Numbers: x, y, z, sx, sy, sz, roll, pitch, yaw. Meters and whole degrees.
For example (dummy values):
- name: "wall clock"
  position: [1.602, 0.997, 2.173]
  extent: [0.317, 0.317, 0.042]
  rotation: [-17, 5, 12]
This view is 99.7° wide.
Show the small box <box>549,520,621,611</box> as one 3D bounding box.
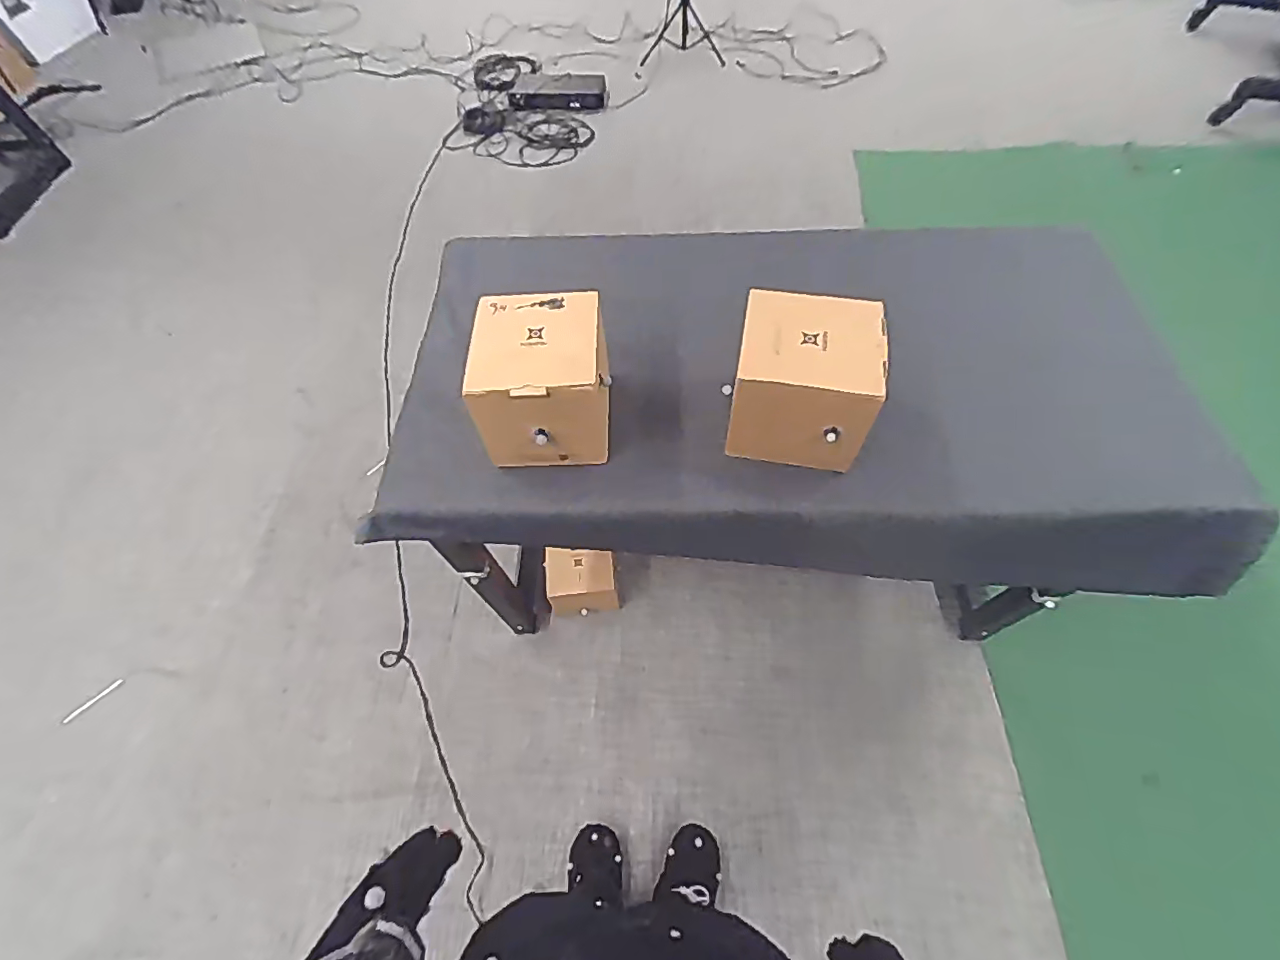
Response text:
- name: "small box"
  position: [-0.141, 0.223, 1.401]
  extent: [0.168, 0.176, 0.179]
  rotation: [-7, 61, -1]

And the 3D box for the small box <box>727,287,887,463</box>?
- name: "small box"
  position: [0.223, -0.140, 0.751]
  extent: [0.179, 0.176, 0.168]
  rotation: [8, 59, 8]

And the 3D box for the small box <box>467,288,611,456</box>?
- name: "small box"
  position: [-0.129, -0.144, 0.768]
  extent: [0.168, 0.176, 0.179]
  rotation: [-2, 59, 1]
